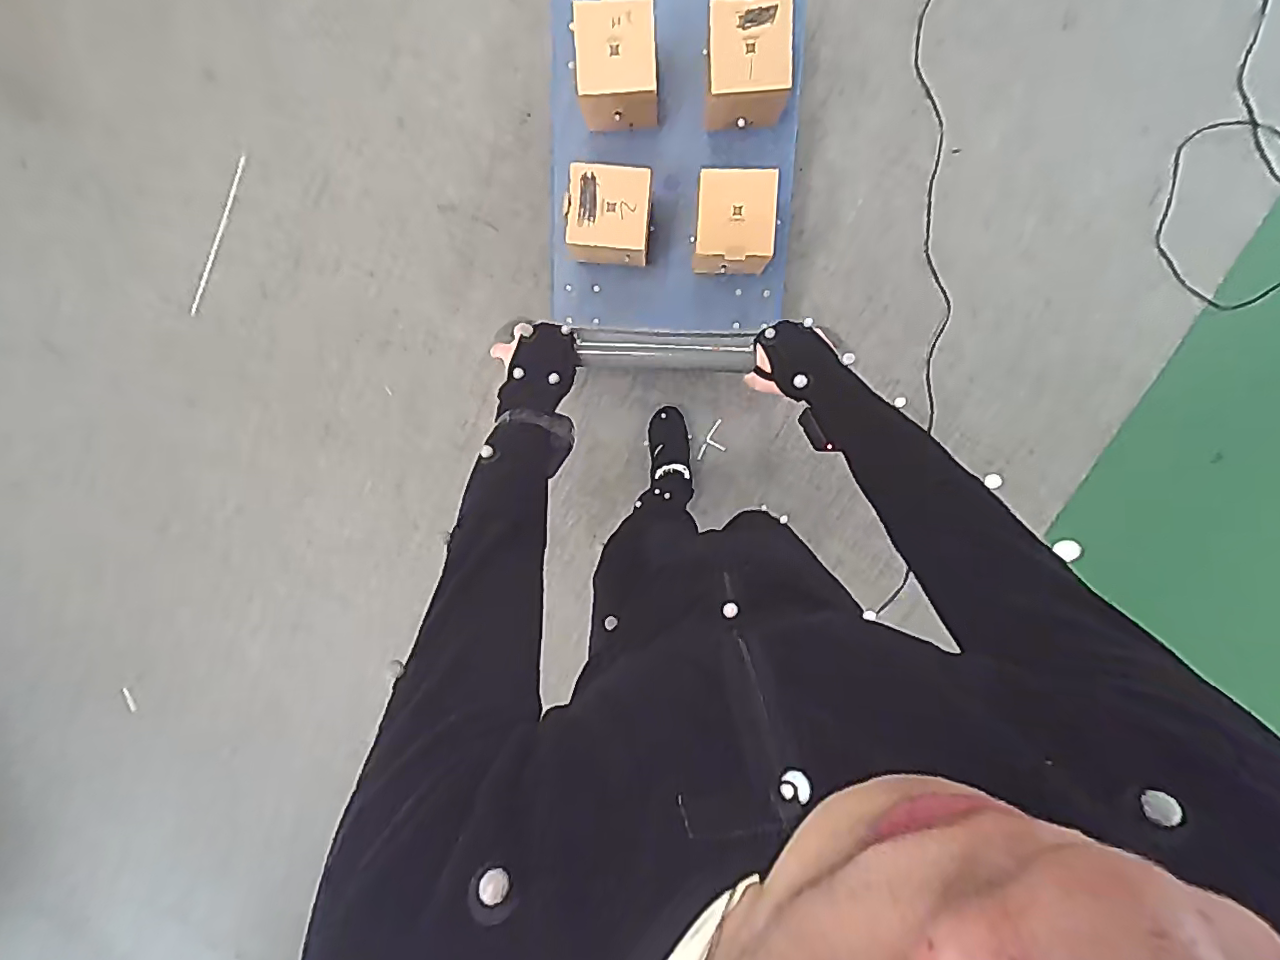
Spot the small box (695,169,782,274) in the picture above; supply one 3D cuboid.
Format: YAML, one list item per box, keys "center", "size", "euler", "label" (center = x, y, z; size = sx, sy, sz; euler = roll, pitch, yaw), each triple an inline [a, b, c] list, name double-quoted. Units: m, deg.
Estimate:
- center: [0.215, -0.577, 1.225]
  size: [0.168, 0.176, 0.179]
  euler: [2, 101, 2]
  label: "small box"

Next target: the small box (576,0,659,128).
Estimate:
- center: [-0.042, -0.894, 1.179]
  size: [0.168, 0.176, 0.179]
  euler: [-2, 100, 2]
  label: "small box"

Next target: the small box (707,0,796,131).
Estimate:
- center: [0.234, -0.889, 1.167]
  size: [0.168, 0.176, 0.179]
  euler: [-2, 101, 3]
  label: "small box"
